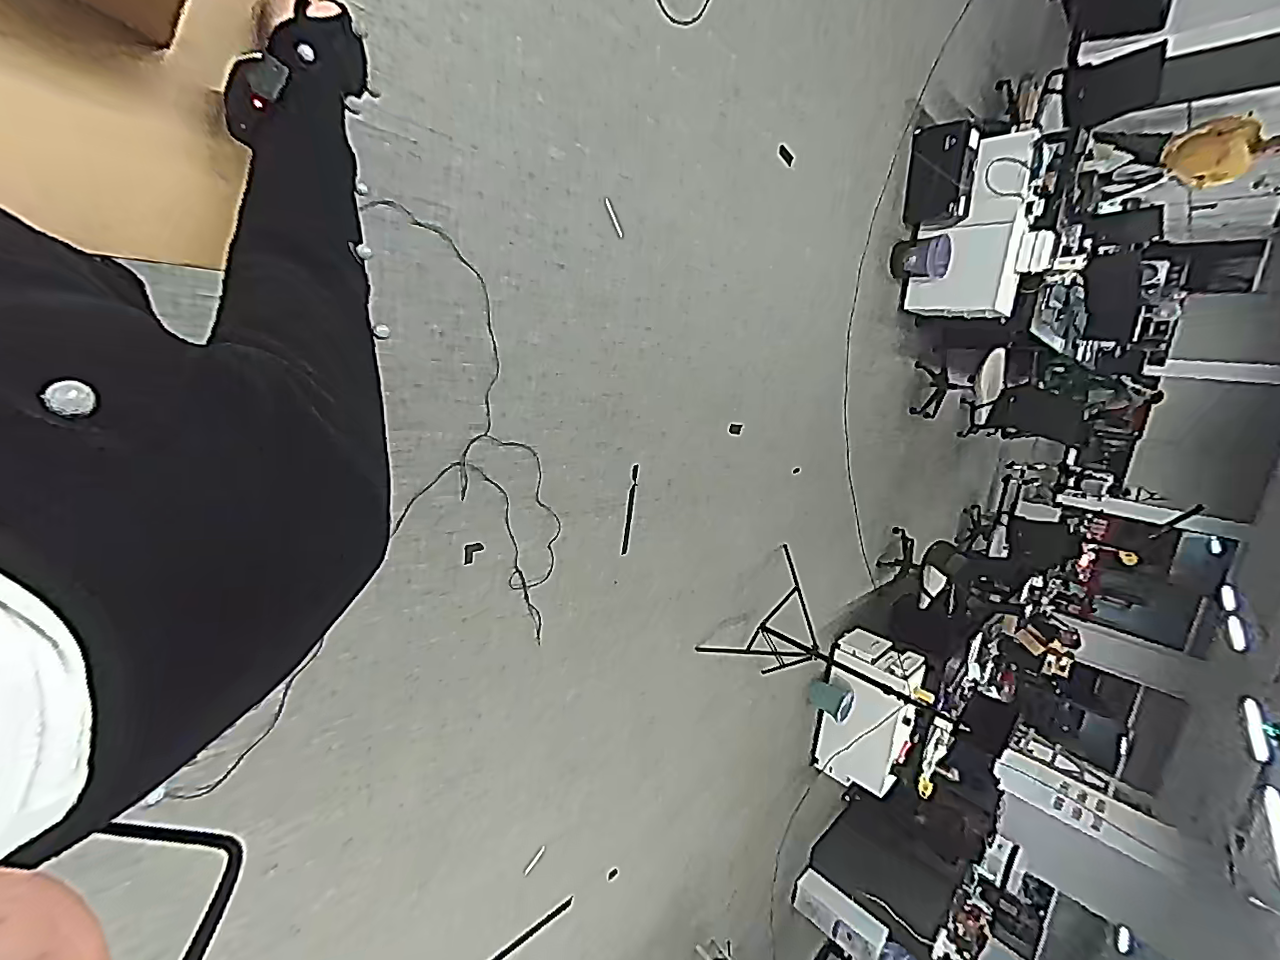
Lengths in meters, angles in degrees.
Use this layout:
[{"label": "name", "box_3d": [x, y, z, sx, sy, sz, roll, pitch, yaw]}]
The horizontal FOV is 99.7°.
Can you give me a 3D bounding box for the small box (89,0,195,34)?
[{"label": "small box", "box_3d": [-0.391, -0.453, 0.357, 0.179, 0.176, 0.168, 10, 94, -47]}]
